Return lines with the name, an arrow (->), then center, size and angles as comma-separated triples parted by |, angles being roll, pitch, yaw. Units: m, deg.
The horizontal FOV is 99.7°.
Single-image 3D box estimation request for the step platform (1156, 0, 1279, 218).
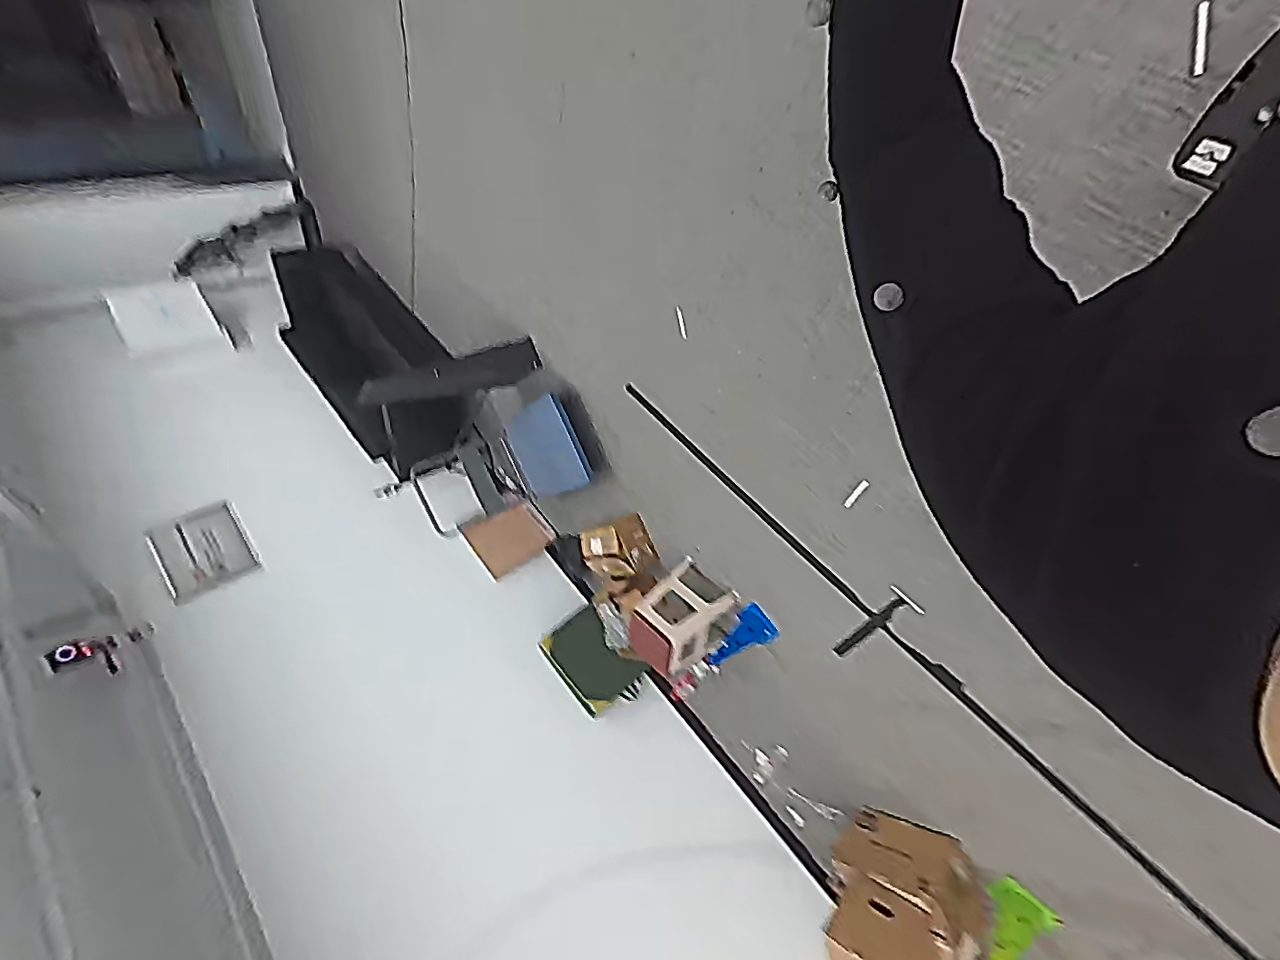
step platform -> 1.257, -0.515, 0.845 | 0.684, 0.204, 0.286 | 46, 143, 25
